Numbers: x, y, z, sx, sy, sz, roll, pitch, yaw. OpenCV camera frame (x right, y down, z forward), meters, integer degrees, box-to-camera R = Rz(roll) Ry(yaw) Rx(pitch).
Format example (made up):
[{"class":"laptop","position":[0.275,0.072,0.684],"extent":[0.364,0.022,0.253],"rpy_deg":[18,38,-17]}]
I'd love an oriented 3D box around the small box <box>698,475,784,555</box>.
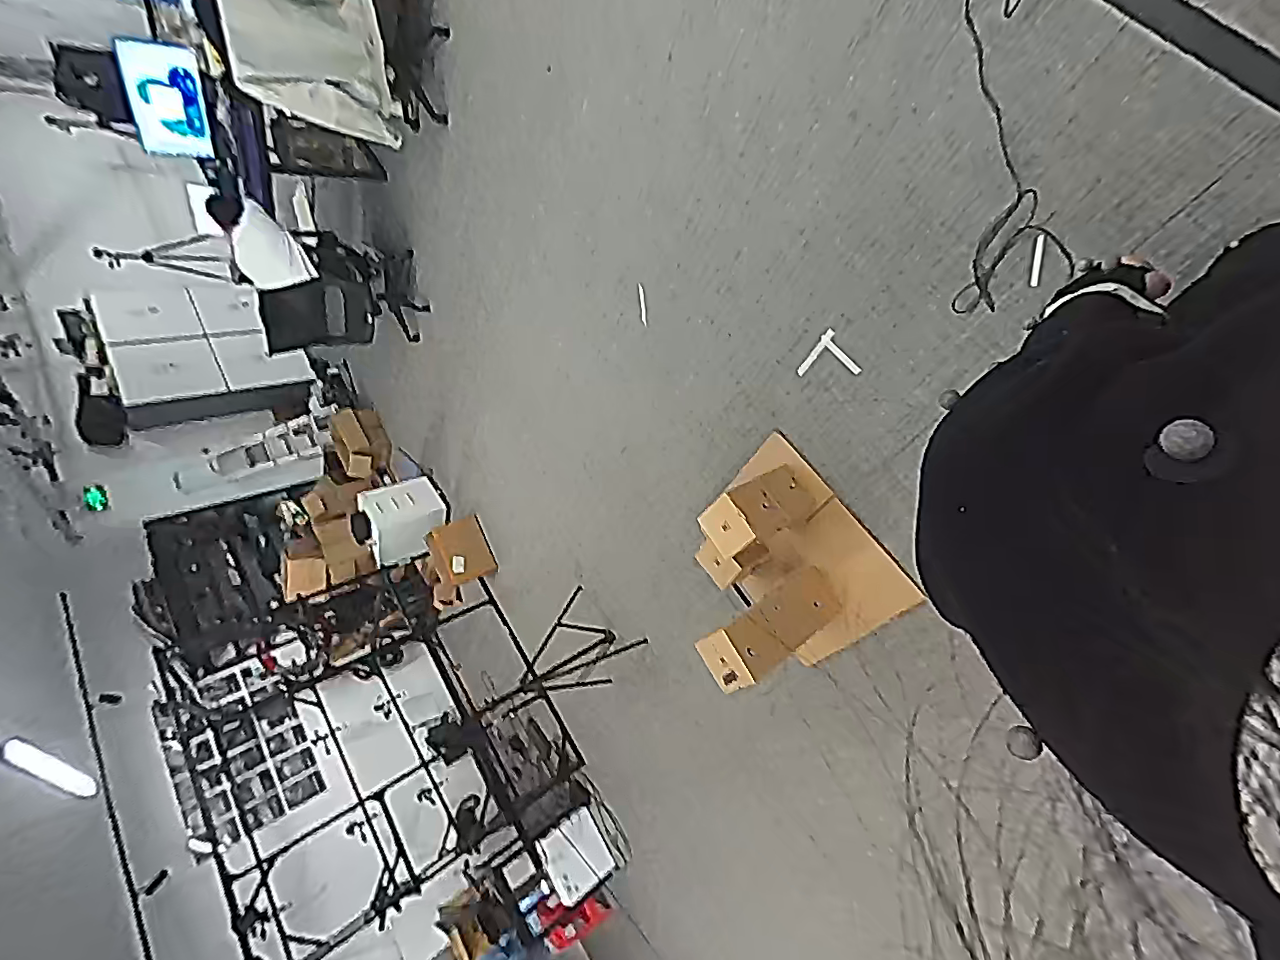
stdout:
[{"class":"small box","position":[0.325,0.111,1.729],"extent":[0.168,0.176,0.179],"rpy_deg":[56,139,16]}]

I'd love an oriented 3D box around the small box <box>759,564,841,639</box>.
[{"class":"small box","position":[0.552,0.416,1.860],"extent":[0.179,0.176,0.168],"rpy_deg":[59,141,11]}]

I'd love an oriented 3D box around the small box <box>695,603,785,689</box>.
[{"class":"small box","position":[0.309,0.506,1.657],"extent":[0.179,0.176,0.168],"rpy_deg":[58,141,14]}]

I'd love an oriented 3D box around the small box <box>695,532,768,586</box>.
[{"class":"small box","position":[0.346,0.263,2.045],"extent":[0.179,0.176,0.168],"rpy_deg":[50,139,22]}]
